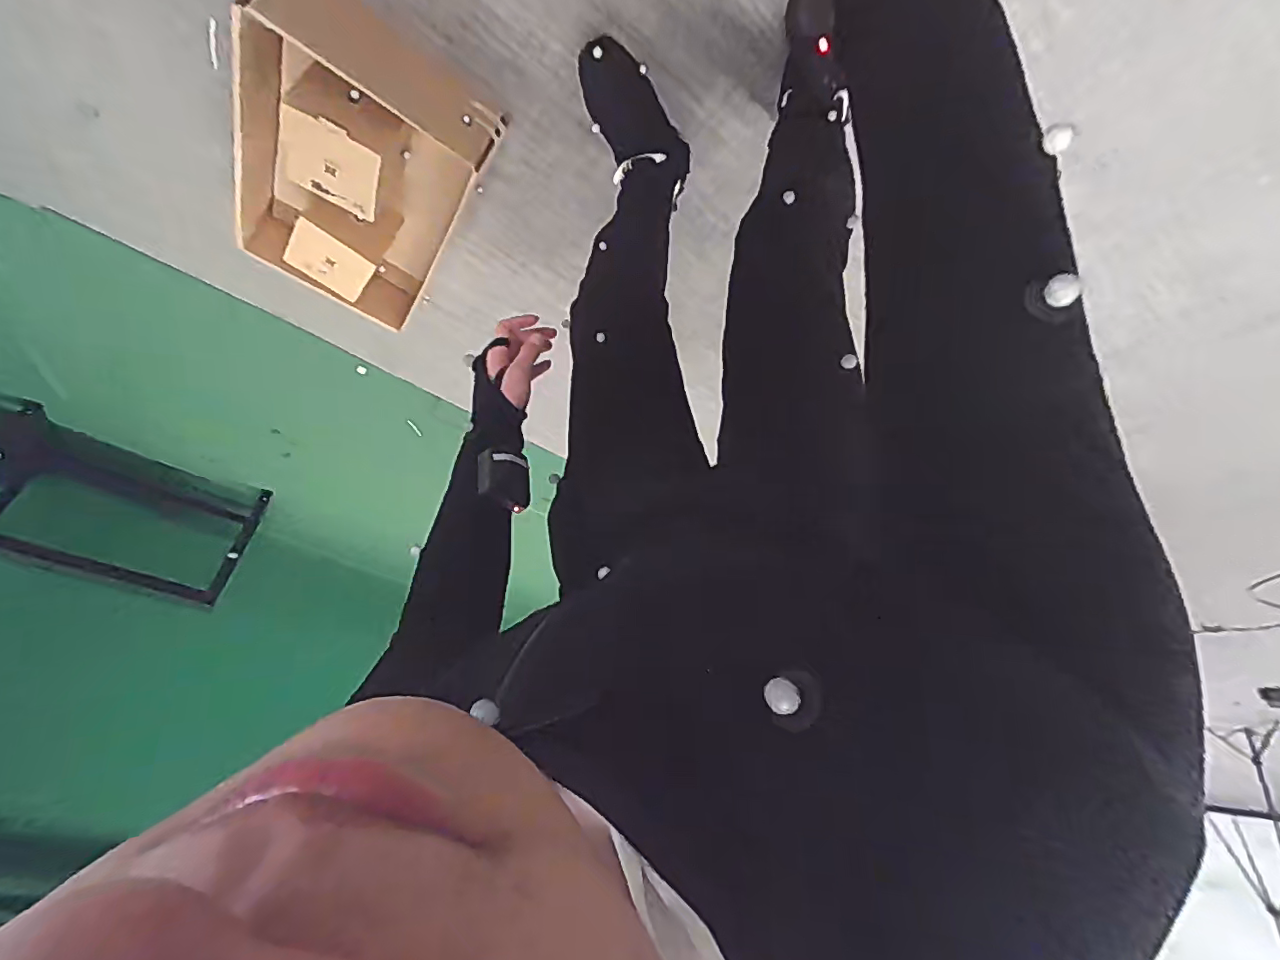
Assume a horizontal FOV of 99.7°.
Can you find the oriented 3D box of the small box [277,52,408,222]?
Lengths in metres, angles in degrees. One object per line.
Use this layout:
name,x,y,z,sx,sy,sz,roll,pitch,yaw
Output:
small box,-0.556,-0.643,1.020,0.168,0.176,0.179,23,151,-22
